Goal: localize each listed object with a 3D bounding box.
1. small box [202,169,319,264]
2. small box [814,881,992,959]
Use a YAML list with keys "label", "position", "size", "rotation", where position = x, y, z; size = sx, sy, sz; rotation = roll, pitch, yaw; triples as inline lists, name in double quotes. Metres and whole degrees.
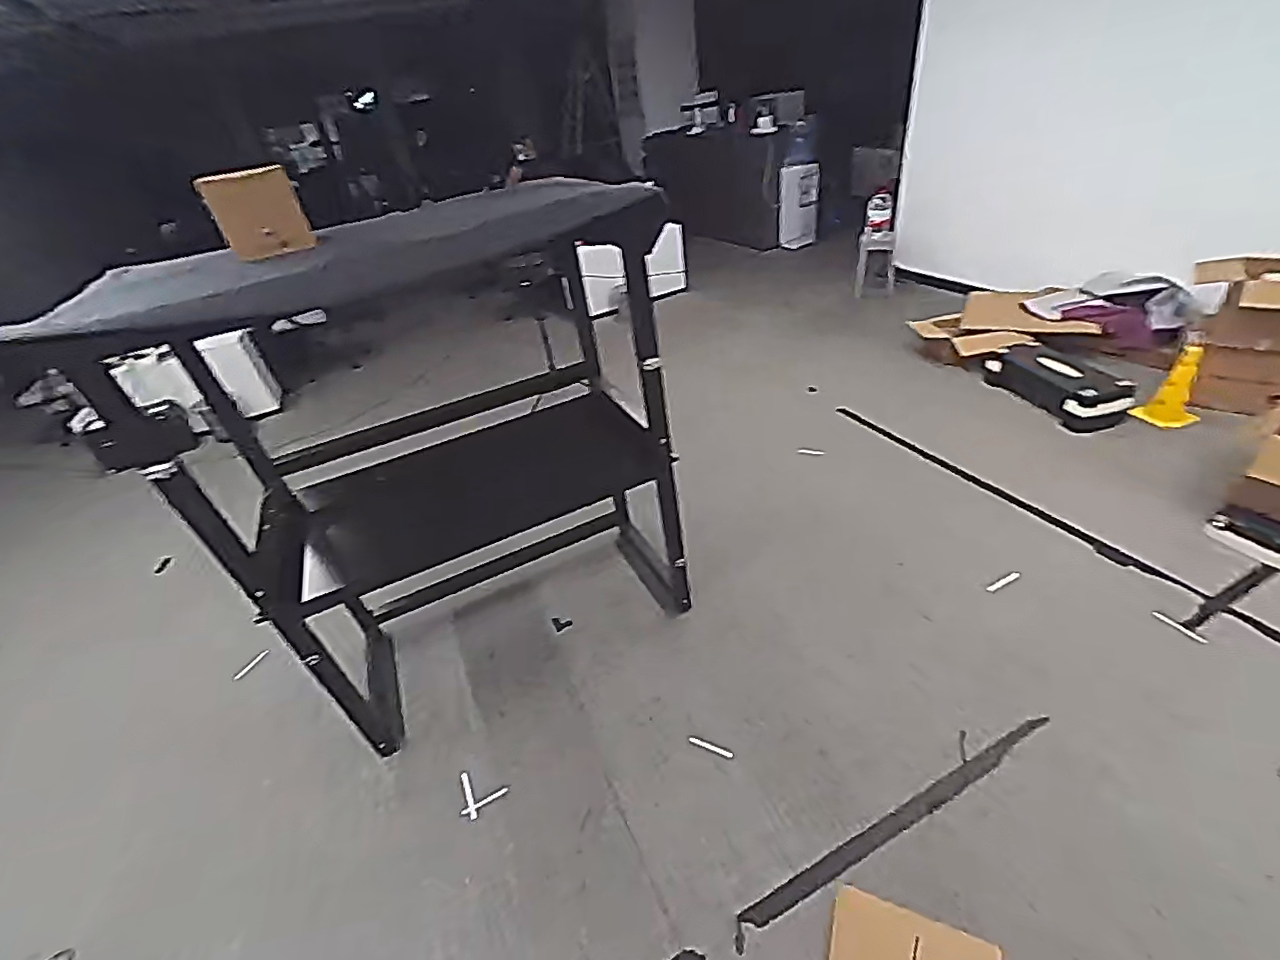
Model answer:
- label: "small box"
  position: [-0.882, -0.621, 1.274]
  size: [0.168, 0.176, 0.179]
  rotation: [-24, 39, -18]
- label: "small box"
  position: [0.270, 0.587, 0.581]
  size: [0.168, 0.176, 0.179]
  rotation: [8, 40, 21]
